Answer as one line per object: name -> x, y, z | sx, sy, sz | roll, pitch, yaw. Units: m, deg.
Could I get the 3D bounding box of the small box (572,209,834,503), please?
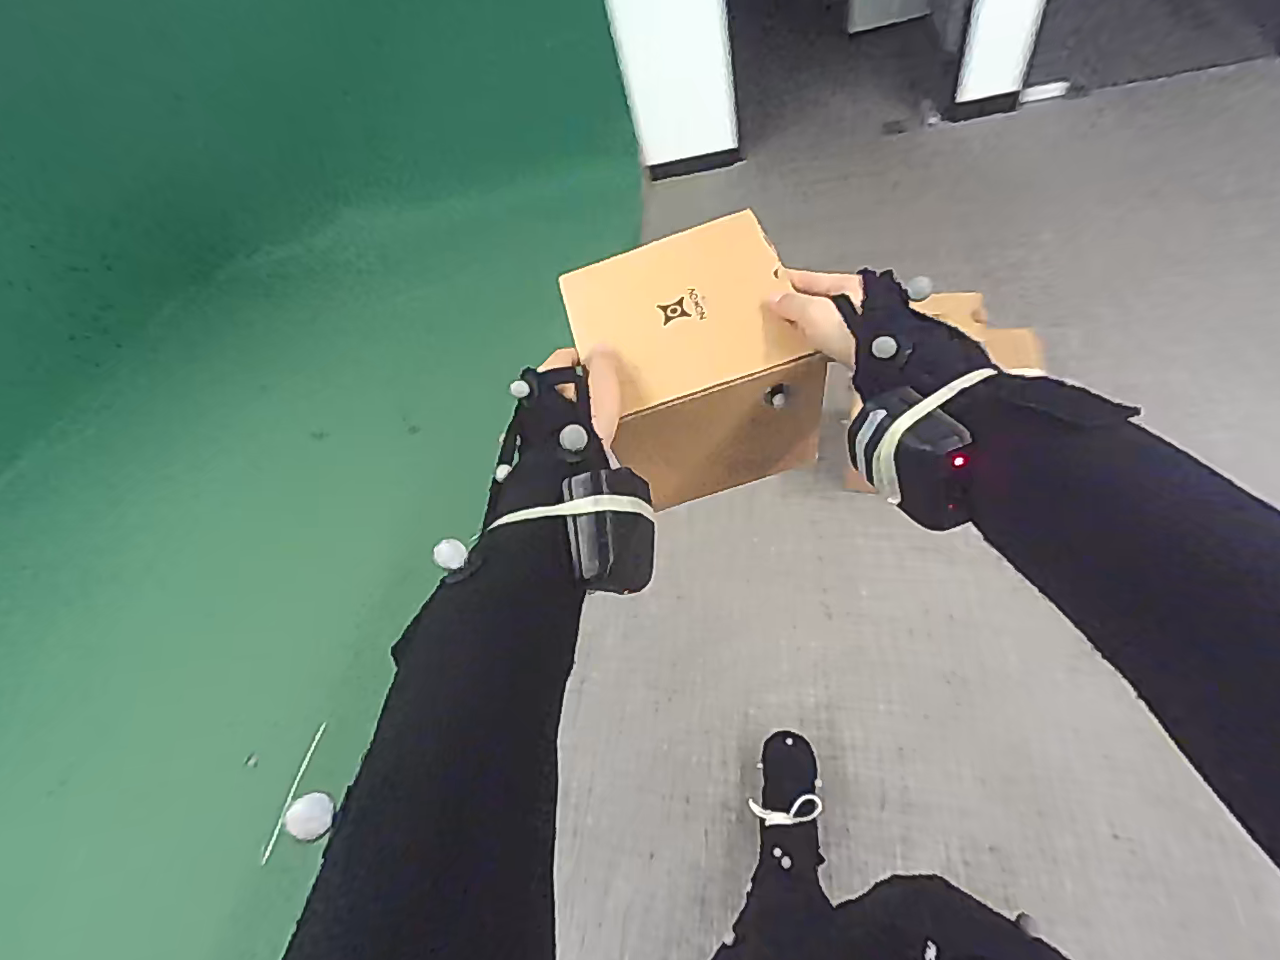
small box -> 0.056, -0.099, 0.490 | 0.179, 0.176, 0.168 | -17, 60, 4

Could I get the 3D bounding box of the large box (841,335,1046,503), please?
large box -> 0.750, -0.157, 1.417 | 0.408, 0.320, 0.320 | 4, 57, 18

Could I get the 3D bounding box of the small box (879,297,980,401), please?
small box -> 0.653, -0.296, 1.237 | 0.179, 0.176, 0.168 | 4, 54, 20
